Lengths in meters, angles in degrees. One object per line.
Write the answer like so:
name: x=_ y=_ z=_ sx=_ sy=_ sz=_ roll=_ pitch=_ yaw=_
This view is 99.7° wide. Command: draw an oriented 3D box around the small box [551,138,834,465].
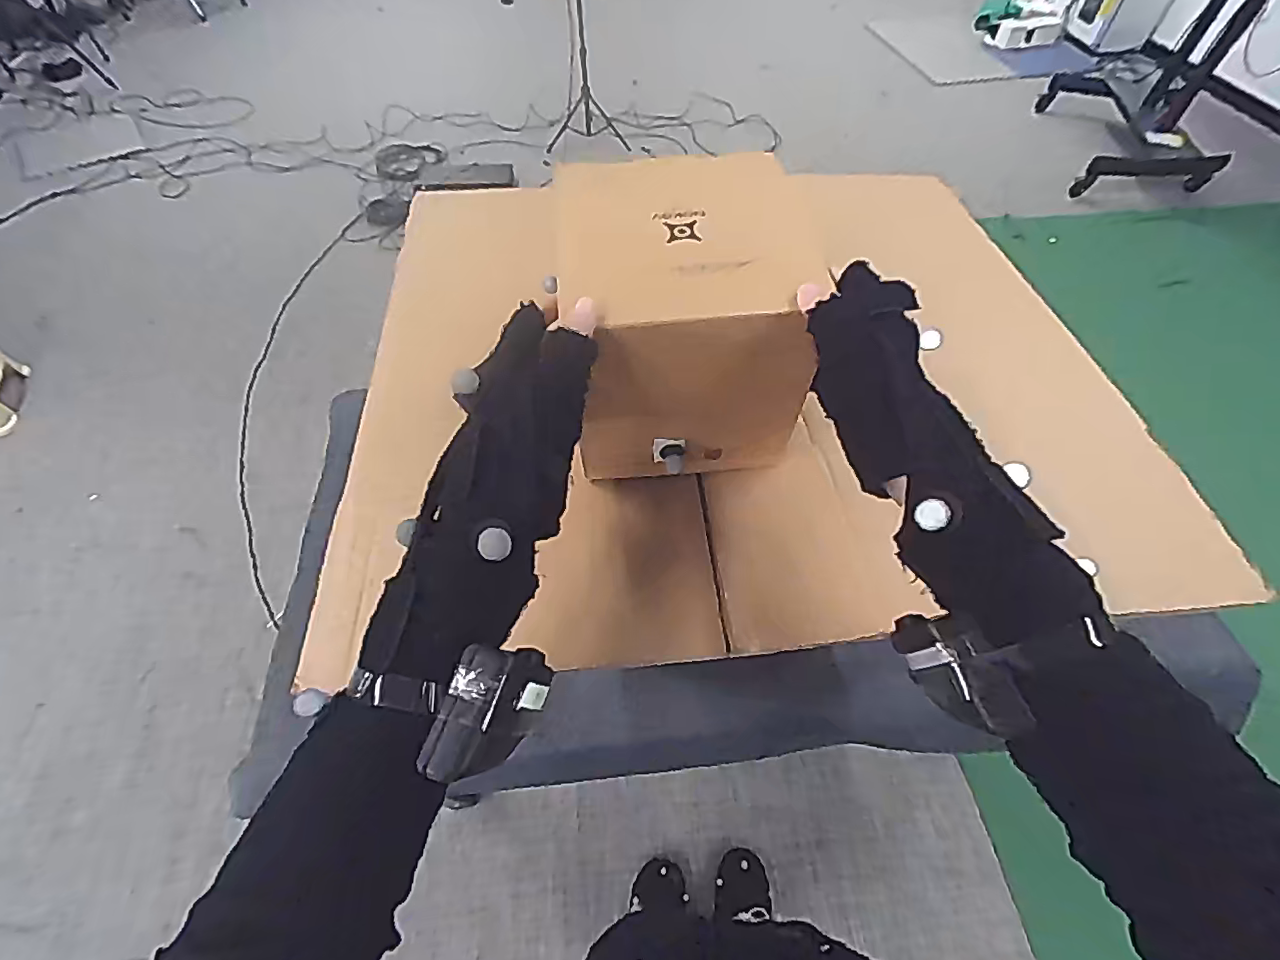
small box: x=0.023 y=-0.132 z=0.418 sx=0.168 sy=0.176 sz=0.179 roll=-5 pitch=58 yaw=-3
